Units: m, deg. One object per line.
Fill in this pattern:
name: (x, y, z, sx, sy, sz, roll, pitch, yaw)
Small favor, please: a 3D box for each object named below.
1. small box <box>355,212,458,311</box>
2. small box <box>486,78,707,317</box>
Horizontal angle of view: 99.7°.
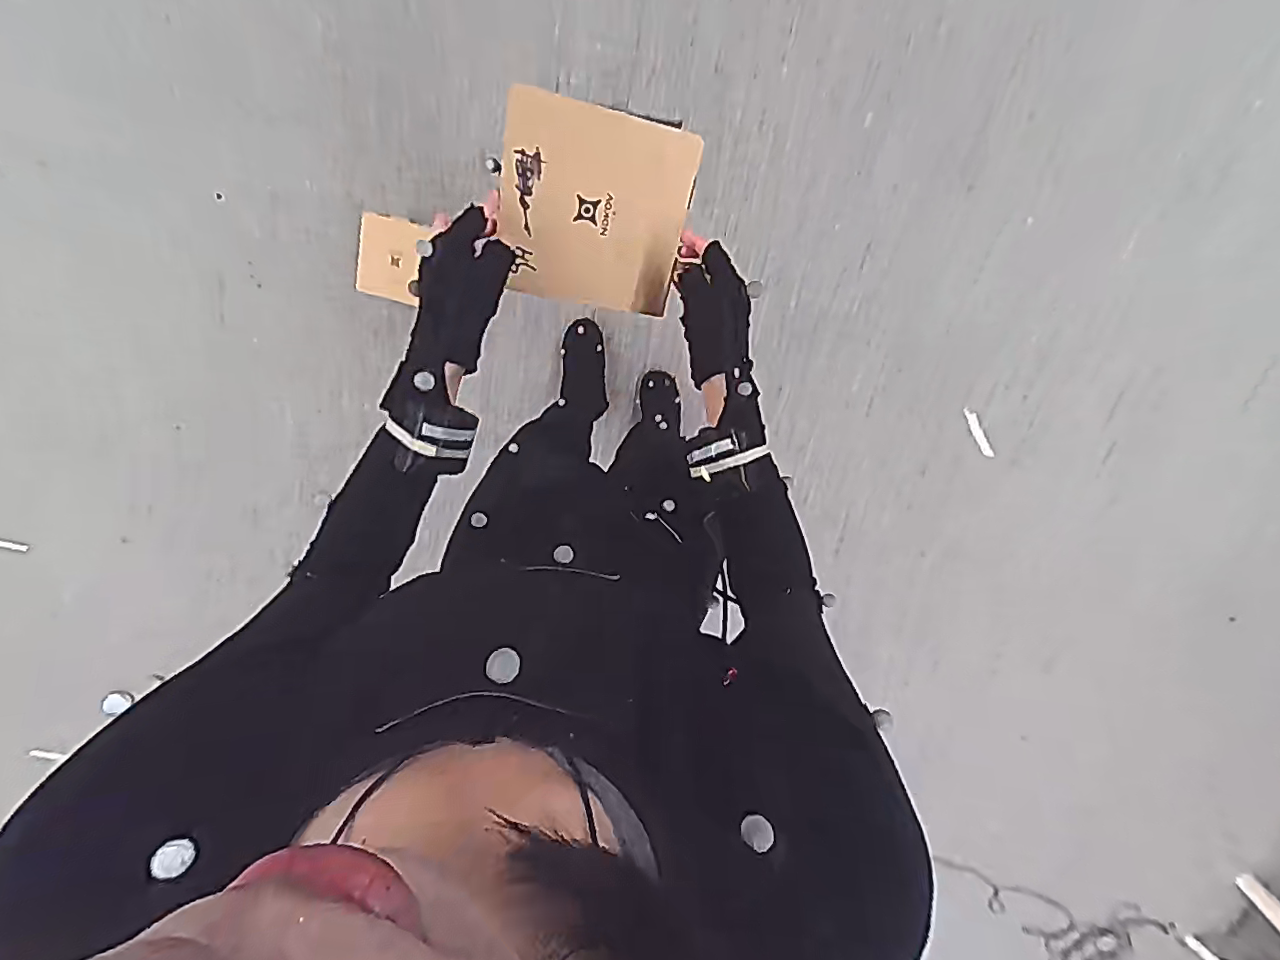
small box: (-0.543, -0.508, 1.277, 0.168, 0.176, 0.179, 14, 109, -2)
small box: (-0.059, -0.282, 0.549, 0.179, 0.176, 0.168, 5, 120, -17)
